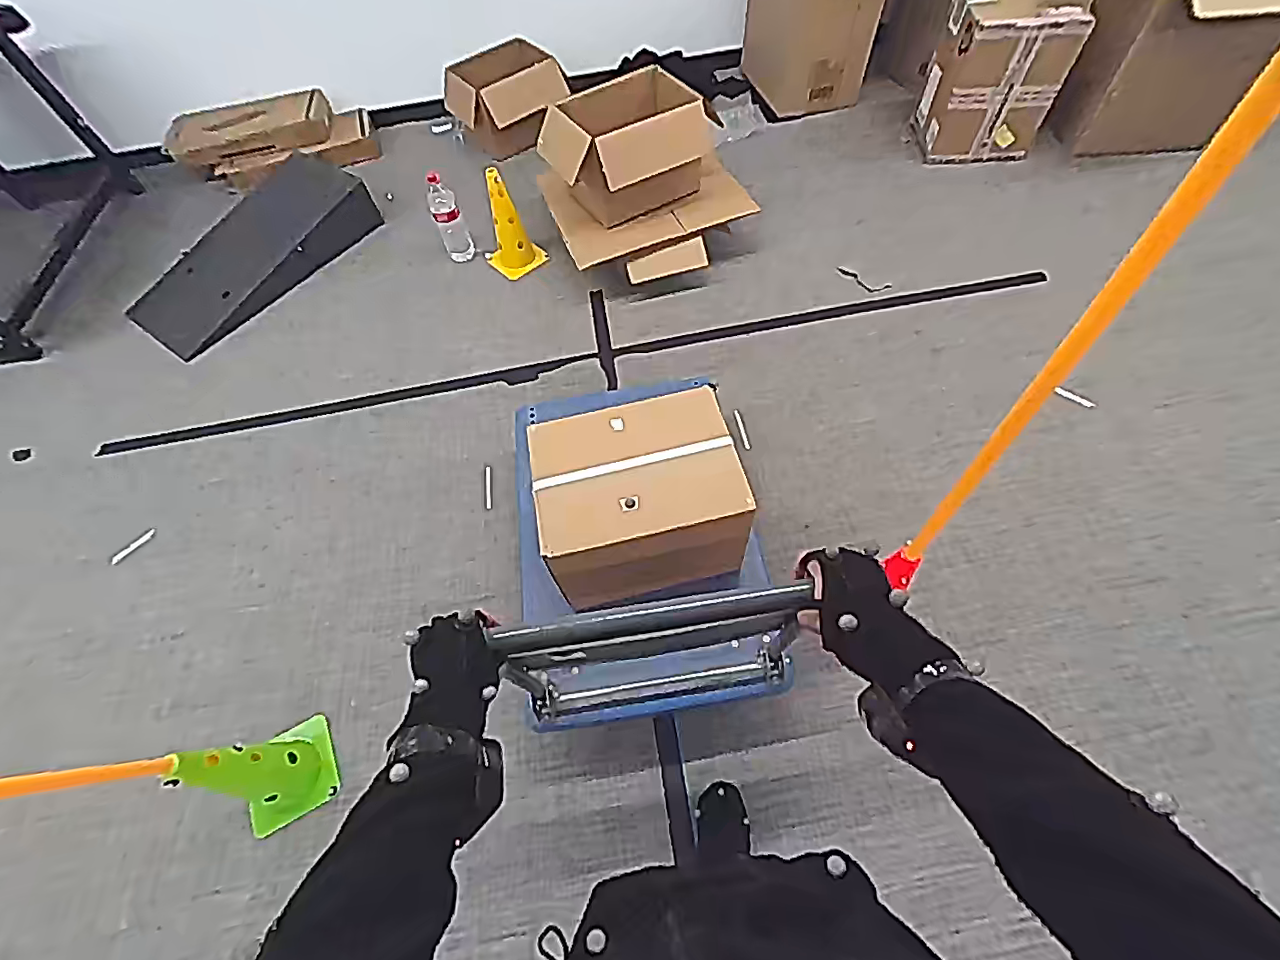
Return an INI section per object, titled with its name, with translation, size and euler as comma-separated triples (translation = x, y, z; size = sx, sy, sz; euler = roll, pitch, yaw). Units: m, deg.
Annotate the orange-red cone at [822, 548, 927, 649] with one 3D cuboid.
[orange-red cone]
translation = 0.557, 0.236, 1.210
size = 0.199, 0.360, 0.198
euler = -4, 60, 1
